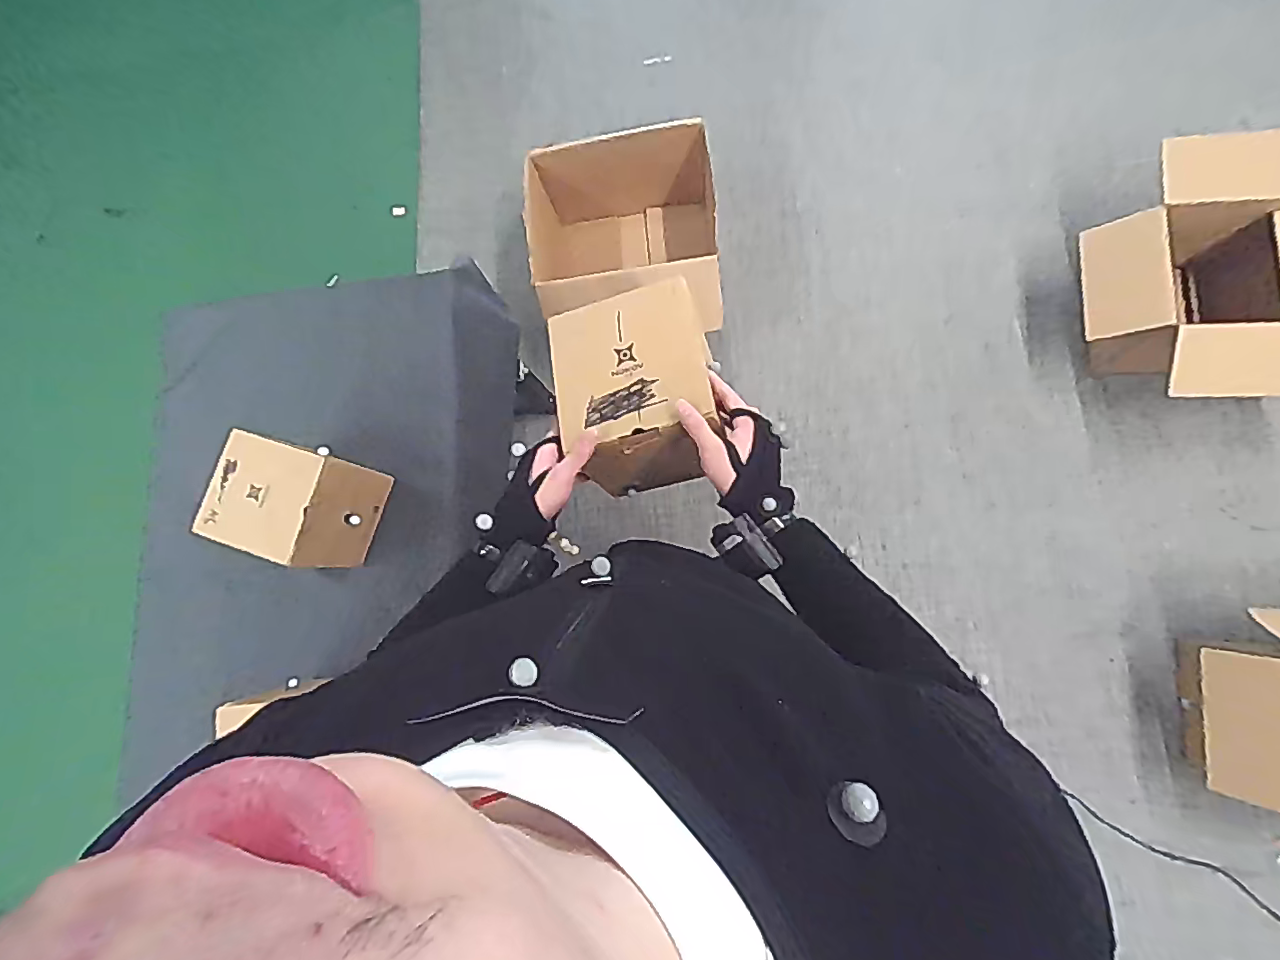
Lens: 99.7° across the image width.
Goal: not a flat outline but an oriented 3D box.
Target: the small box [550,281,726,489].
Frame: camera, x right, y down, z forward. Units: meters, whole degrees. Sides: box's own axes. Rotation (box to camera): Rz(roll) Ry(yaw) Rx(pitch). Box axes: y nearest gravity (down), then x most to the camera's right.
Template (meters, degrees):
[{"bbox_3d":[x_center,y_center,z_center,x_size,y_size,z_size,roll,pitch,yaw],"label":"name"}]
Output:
[{"bbox_3d":[0.004,-0.098,0.652,0.168,0.176,0.179,-12,67,10],"label":"small box"}]

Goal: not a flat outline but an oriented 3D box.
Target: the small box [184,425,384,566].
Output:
[{"bbox_3d":[-0.547,0.031,0.858,0.179,0.176,0.168,17,82,9],"label":"small box"}]

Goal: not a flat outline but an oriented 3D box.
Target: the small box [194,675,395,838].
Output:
[{"bbox_3d":[-0.478,0.381,0.770,0.179,0.176,0.168,-7,79,6],"label":"small box"}]
